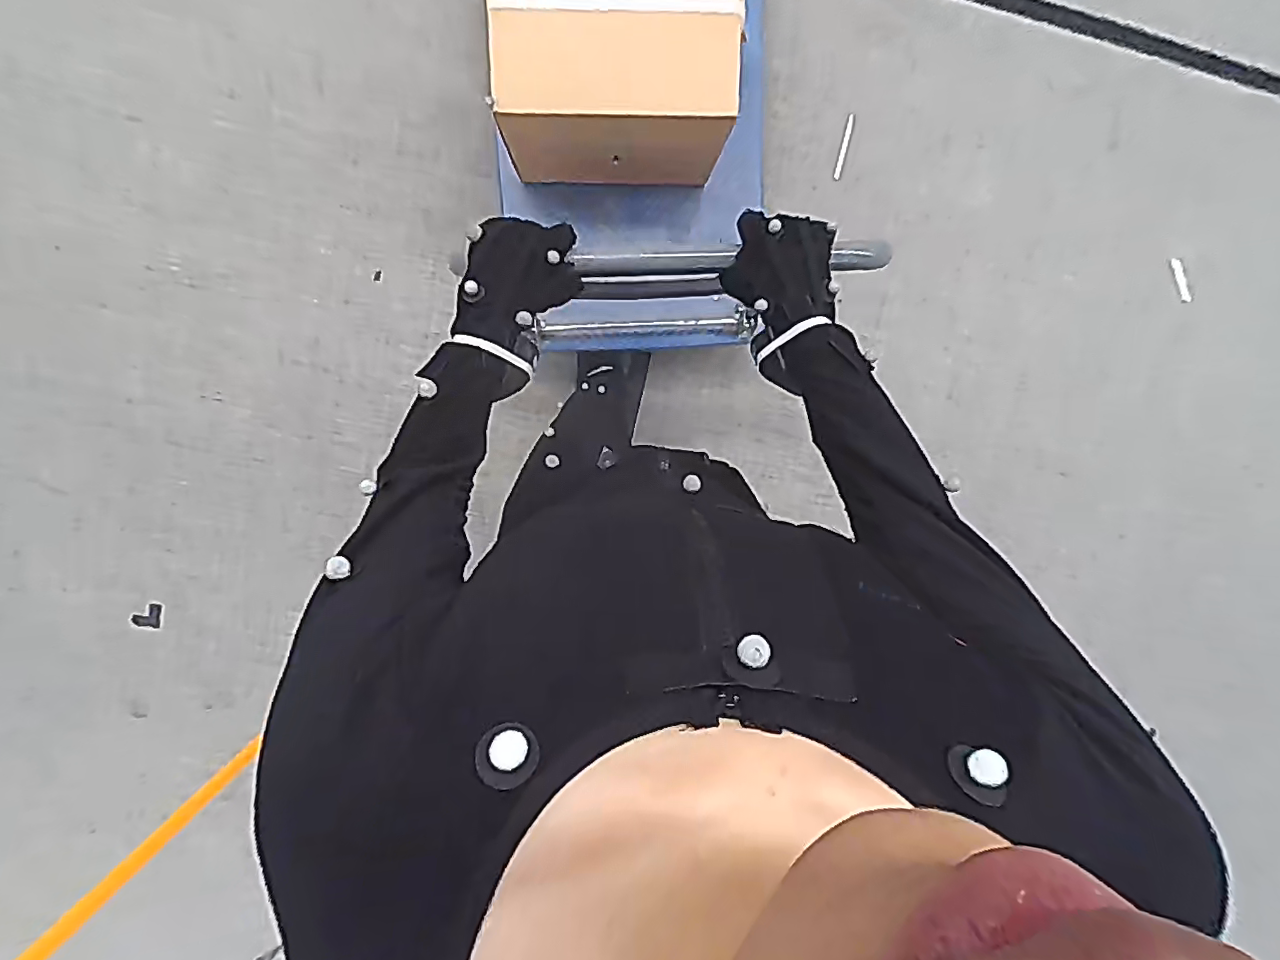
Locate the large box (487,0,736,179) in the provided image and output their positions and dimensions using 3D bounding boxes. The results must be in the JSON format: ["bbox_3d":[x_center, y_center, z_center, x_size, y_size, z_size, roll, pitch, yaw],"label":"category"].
[{"bbox_3d":[-0.049,-0.778,1.006,0.408,0.320,0.320,-1,100,-3],"label":"large box"}]

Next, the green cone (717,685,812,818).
[{"bbox_3d":[0.358,0.738,1.423,0.202,0.368,0.200,16,98,-7],"label":"green cone"}]
